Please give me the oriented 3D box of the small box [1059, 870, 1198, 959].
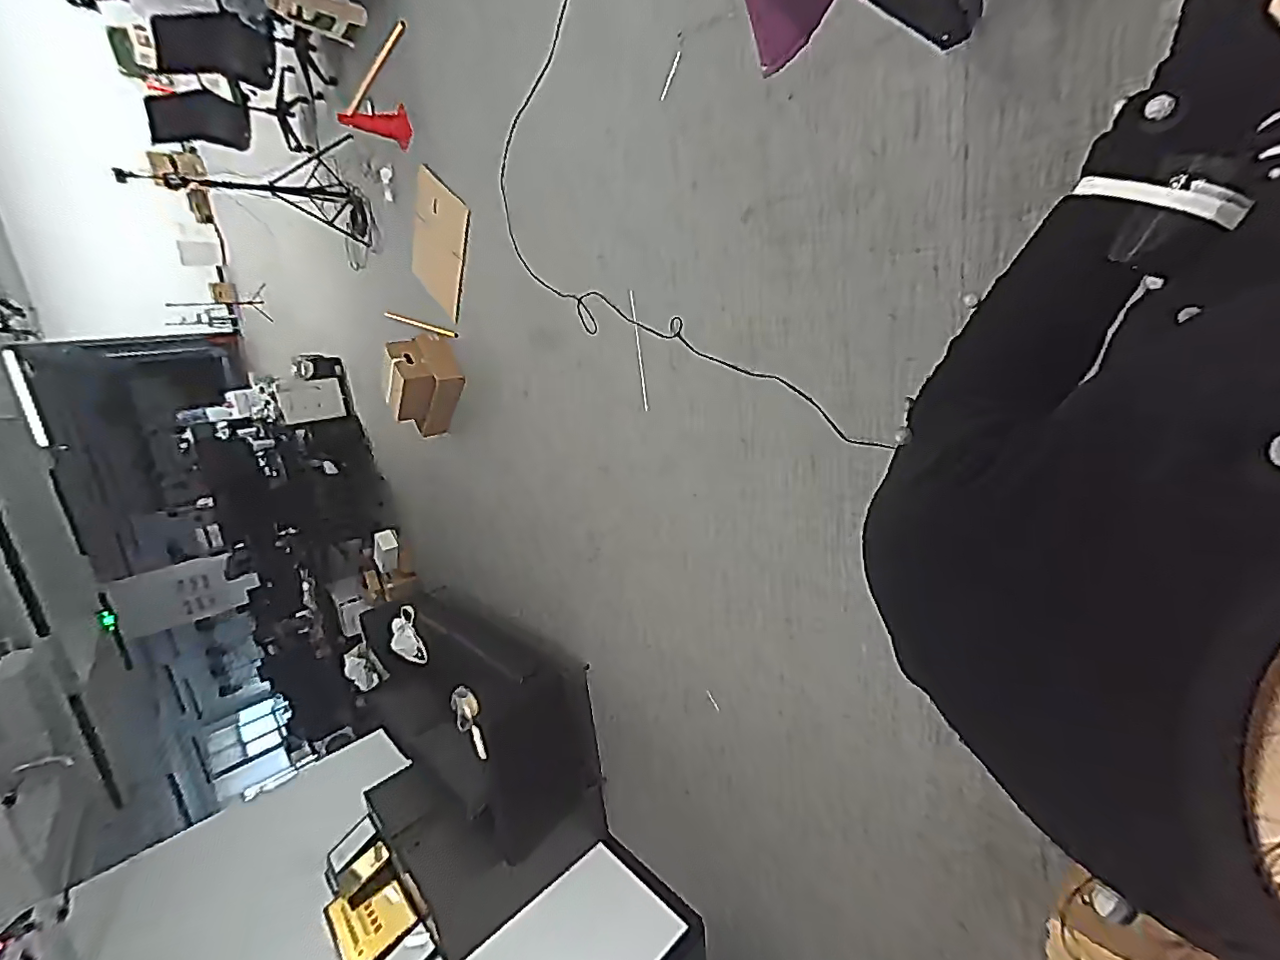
[{"bbox_3d":[0.942,0.912,1.048,0.179,0.176,0.168,9,112,47],"label":"small box"}]
